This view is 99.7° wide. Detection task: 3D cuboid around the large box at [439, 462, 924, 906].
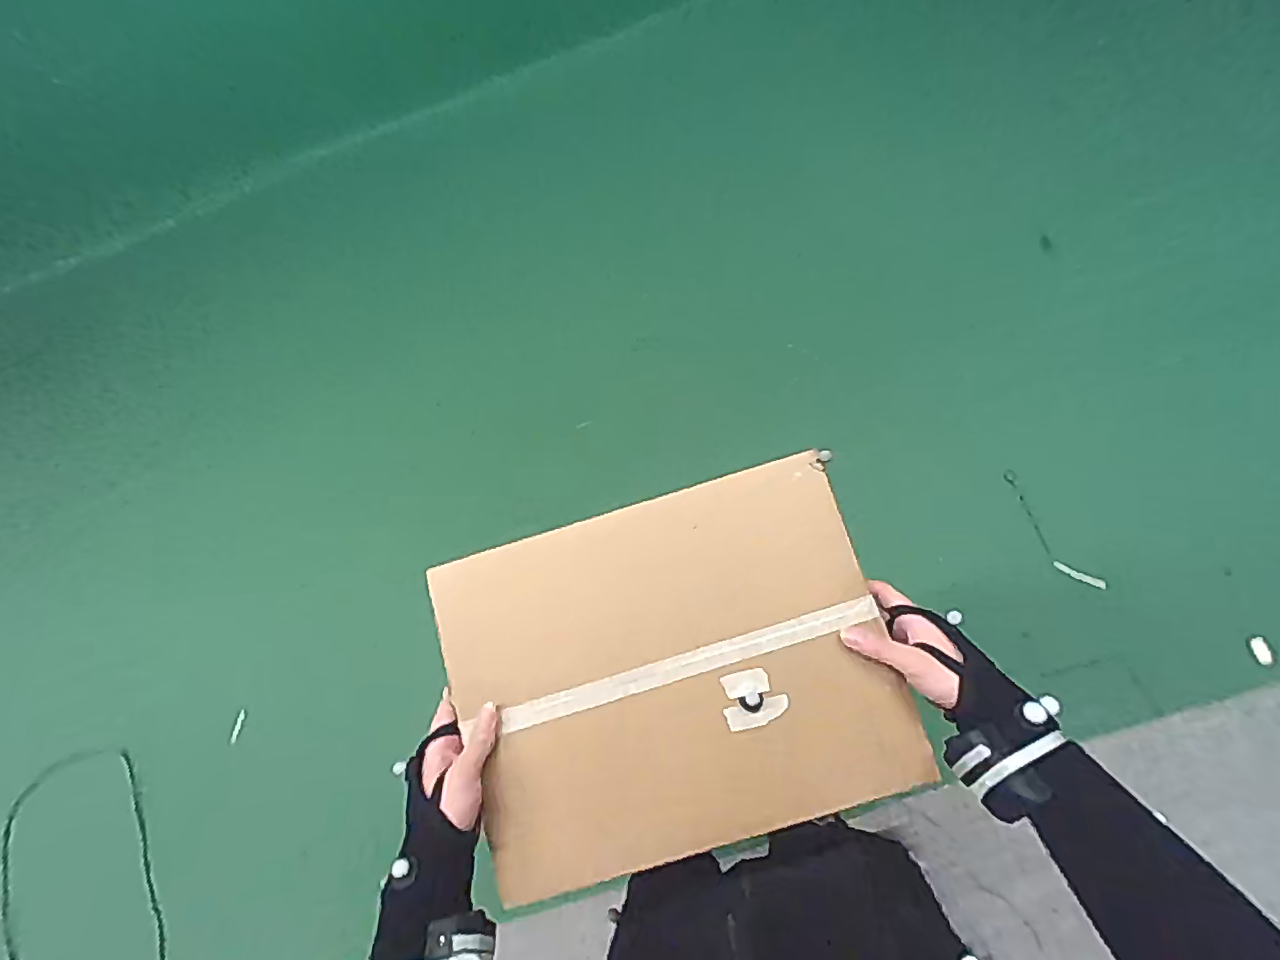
[{"bbox_3d":[0.036,0.212,0.664,0.408,0.320,0.320,-18,80,0],"label":"large box"}]
